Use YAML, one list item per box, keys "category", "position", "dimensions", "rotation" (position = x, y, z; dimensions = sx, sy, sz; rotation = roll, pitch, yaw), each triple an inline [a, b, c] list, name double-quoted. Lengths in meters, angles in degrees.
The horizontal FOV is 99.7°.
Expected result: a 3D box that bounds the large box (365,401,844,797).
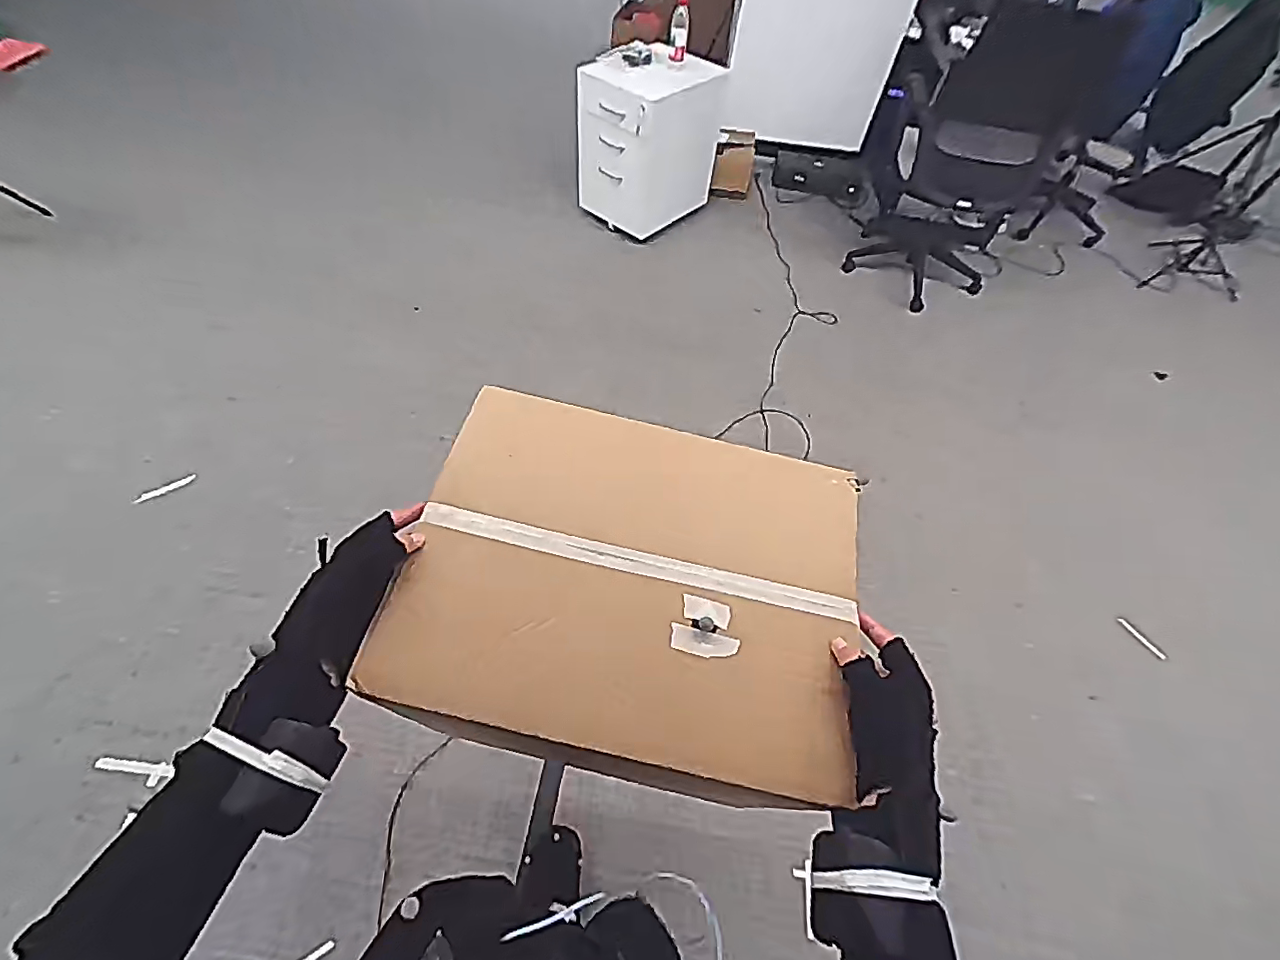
- category: "large box"
  position: [-0.022, 0.158, 0.637]
  dimensions: [0.408, 0.320, 0.320]
  rotation: [14, 60, 0]
